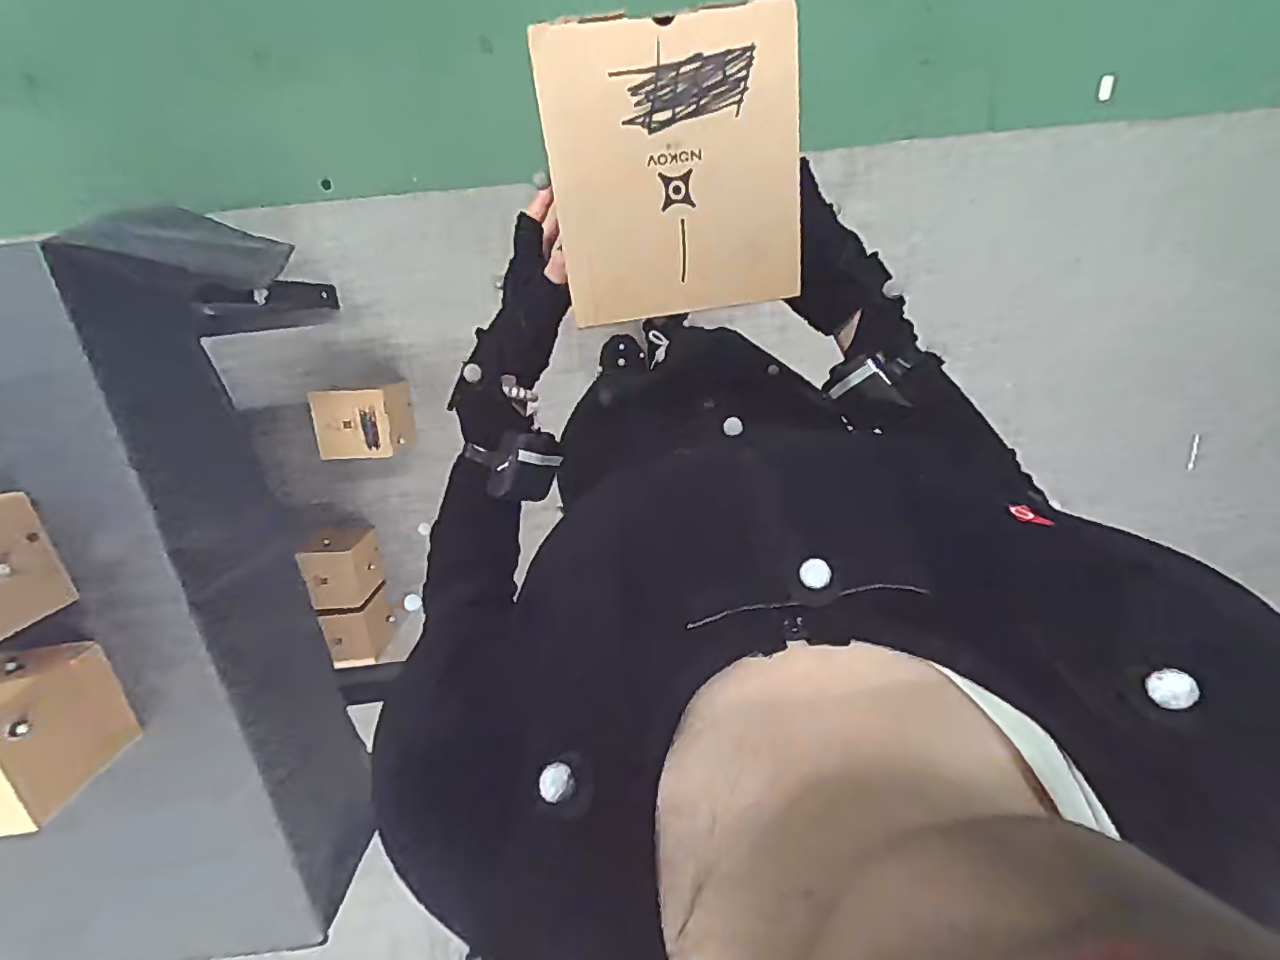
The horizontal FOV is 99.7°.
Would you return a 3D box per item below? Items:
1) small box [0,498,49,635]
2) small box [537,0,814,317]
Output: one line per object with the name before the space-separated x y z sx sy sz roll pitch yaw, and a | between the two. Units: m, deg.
small box | -0.883 0.129 0.644 0.179 0.176 0.168 -9 107 -1
small box | 0.021 -0.229 0.416 0.168 0.176 0.179 -10 111 -3
